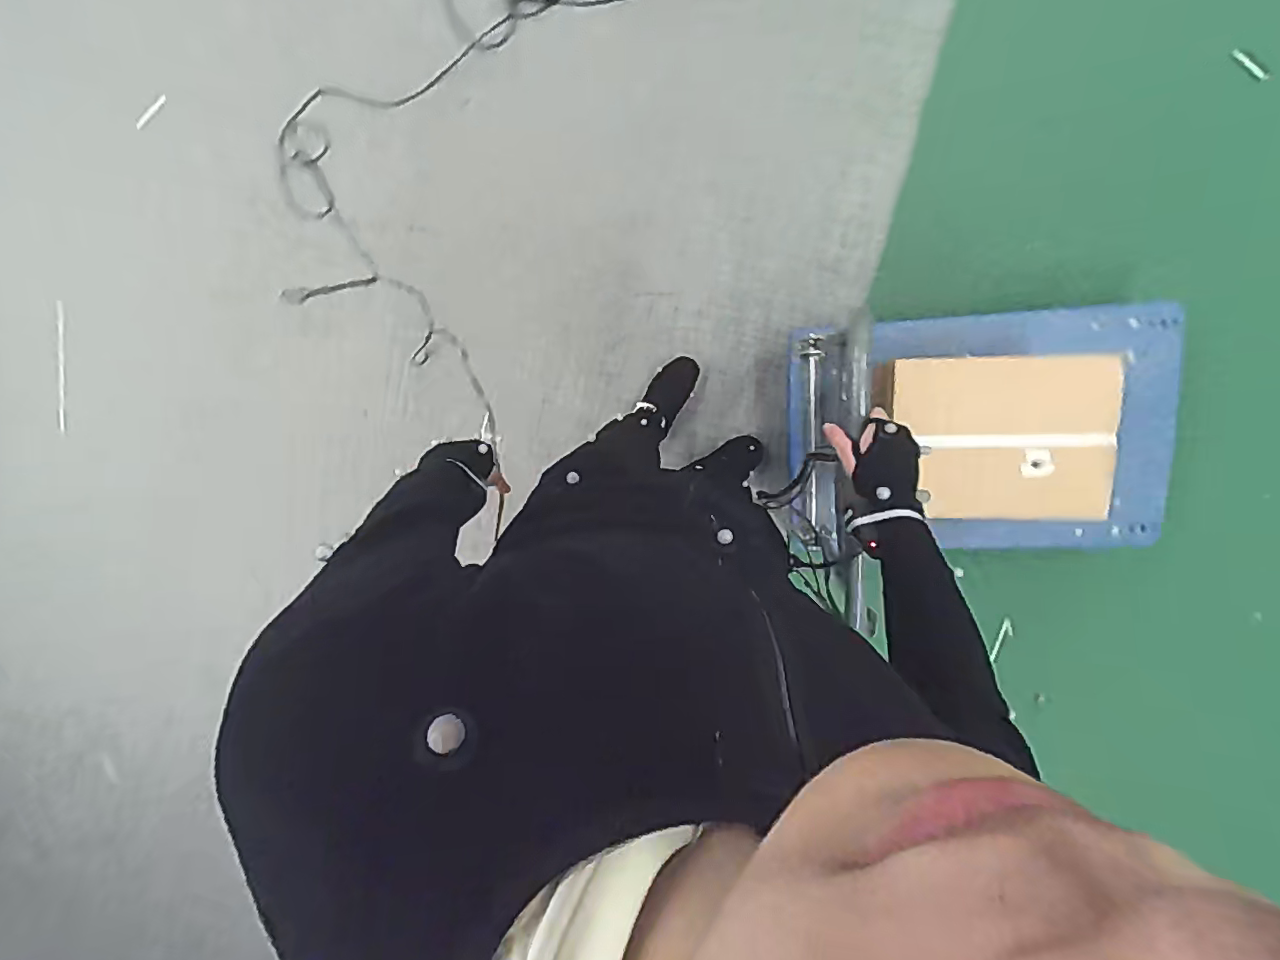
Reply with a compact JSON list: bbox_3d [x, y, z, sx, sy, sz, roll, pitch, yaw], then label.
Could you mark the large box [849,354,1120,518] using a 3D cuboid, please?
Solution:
[{"bbox_3d":[0.702,-0.102,1.181,0.408,0.320,0.320,1,100,7],"label":"large box"}]
